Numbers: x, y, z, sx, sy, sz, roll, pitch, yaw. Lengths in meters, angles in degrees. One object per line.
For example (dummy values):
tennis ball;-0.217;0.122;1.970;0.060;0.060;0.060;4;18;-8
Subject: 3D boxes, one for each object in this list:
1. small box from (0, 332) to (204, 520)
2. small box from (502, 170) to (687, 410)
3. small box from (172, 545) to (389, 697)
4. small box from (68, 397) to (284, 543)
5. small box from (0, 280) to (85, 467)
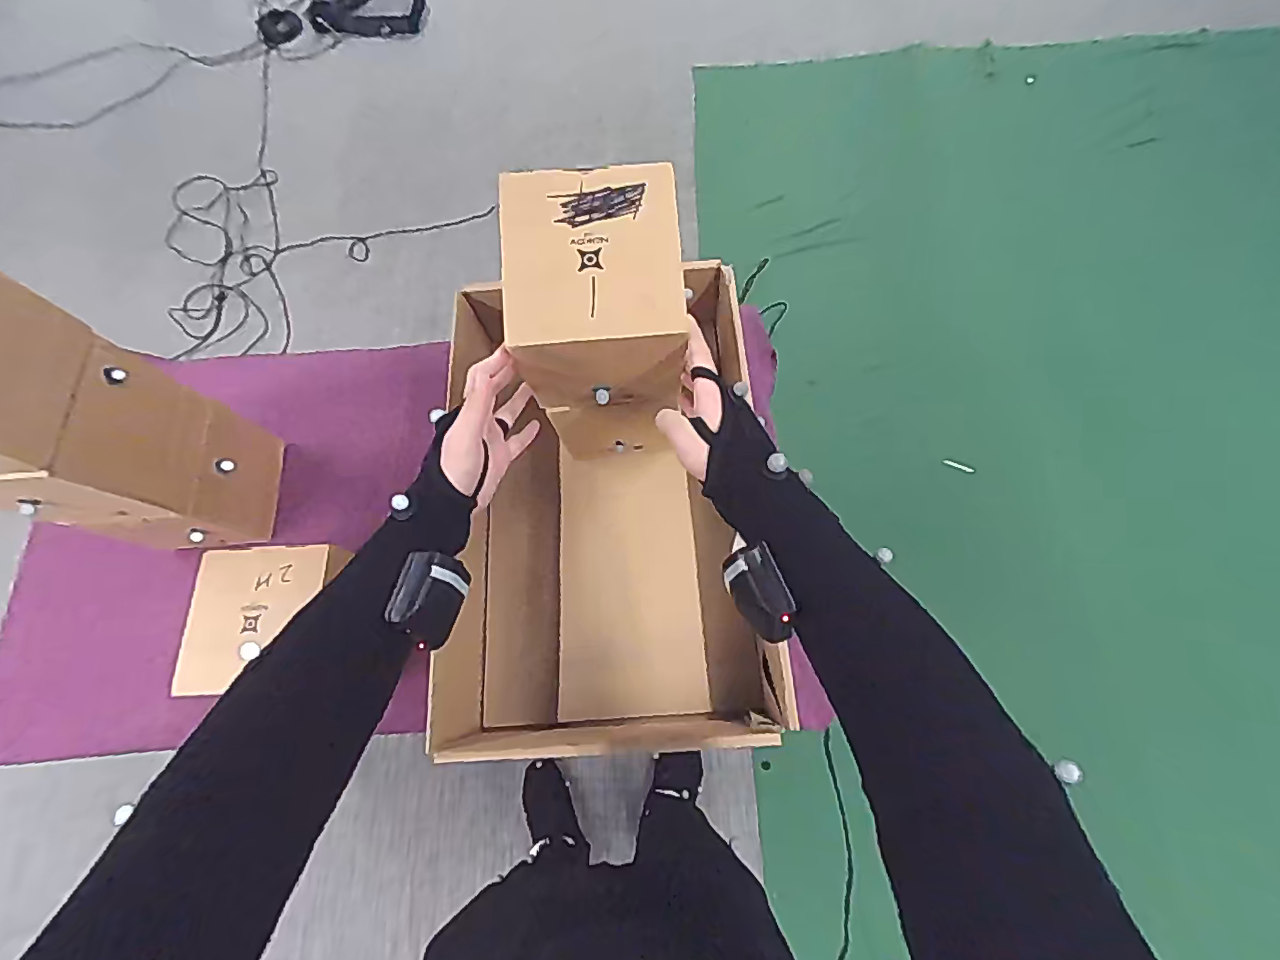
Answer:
small box;-0.684;-0.054;0.659;0.168;0.176;0.179;-4;70;1
small box;-0.044;-0.188;0.573;0.168;0.176;0.179;-5;79;0
small box;-0.462;0.192;0.728;0.168;0.176;0.179;-3;70;2
small box;-0.675;-0.005;0.813;0.168;0.176;0.179;-3;71;1
small box;-0.691;-0.112;0.505;0.168;0.176;0.179;-4;71;1
